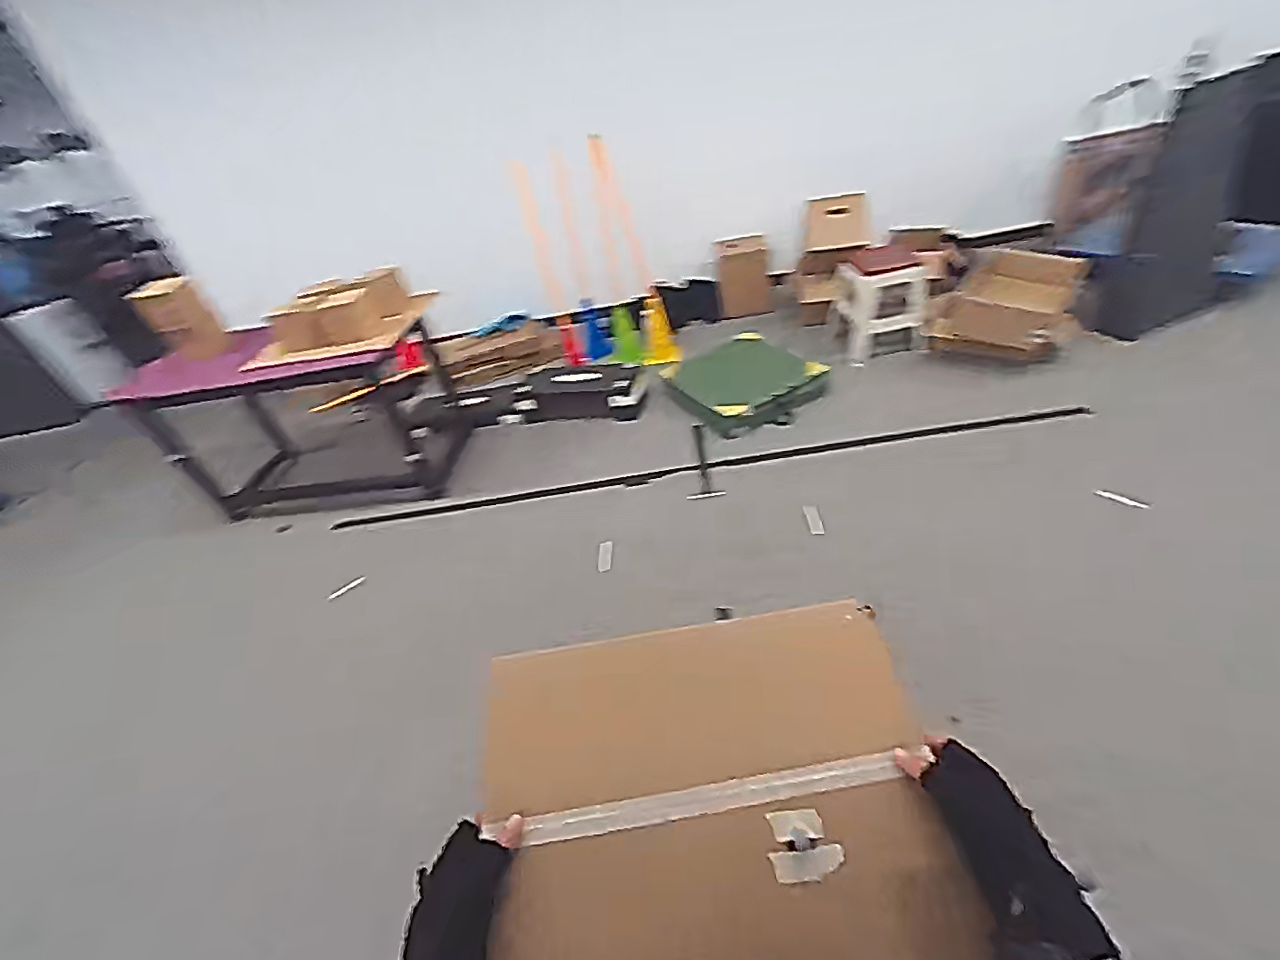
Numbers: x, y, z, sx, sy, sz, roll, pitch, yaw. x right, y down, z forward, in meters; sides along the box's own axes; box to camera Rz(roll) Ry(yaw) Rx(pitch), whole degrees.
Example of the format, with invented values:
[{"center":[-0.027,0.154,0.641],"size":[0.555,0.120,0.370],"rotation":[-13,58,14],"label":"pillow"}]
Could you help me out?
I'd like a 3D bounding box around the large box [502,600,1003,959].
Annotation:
[{"center":[0.078,0.369,0.620],"size":[0.408,0.320,0.320],"rotation":[-8,55,-1],"label":"large box"}]
